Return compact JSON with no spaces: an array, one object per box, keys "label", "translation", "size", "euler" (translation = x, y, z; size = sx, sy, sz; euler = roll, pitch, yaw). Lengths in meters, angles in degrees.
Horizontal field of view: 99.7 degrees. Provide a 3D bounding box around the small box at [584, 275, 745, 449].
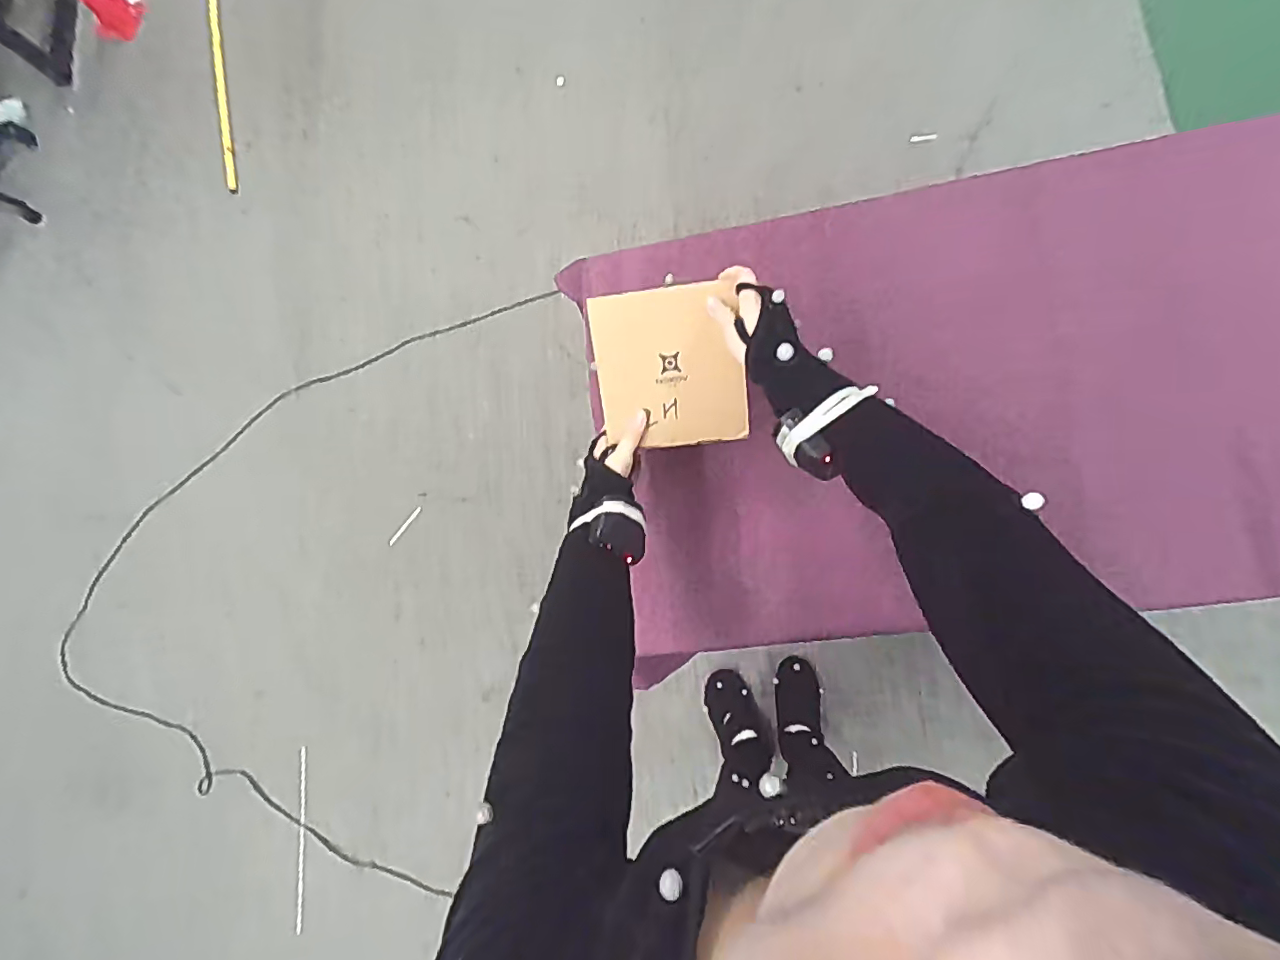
[{"label":"small box","translation":[0.037,-0.151,0.673],"size":[0.168,0.176,0.179],"euler":[-5,110,9]}]
